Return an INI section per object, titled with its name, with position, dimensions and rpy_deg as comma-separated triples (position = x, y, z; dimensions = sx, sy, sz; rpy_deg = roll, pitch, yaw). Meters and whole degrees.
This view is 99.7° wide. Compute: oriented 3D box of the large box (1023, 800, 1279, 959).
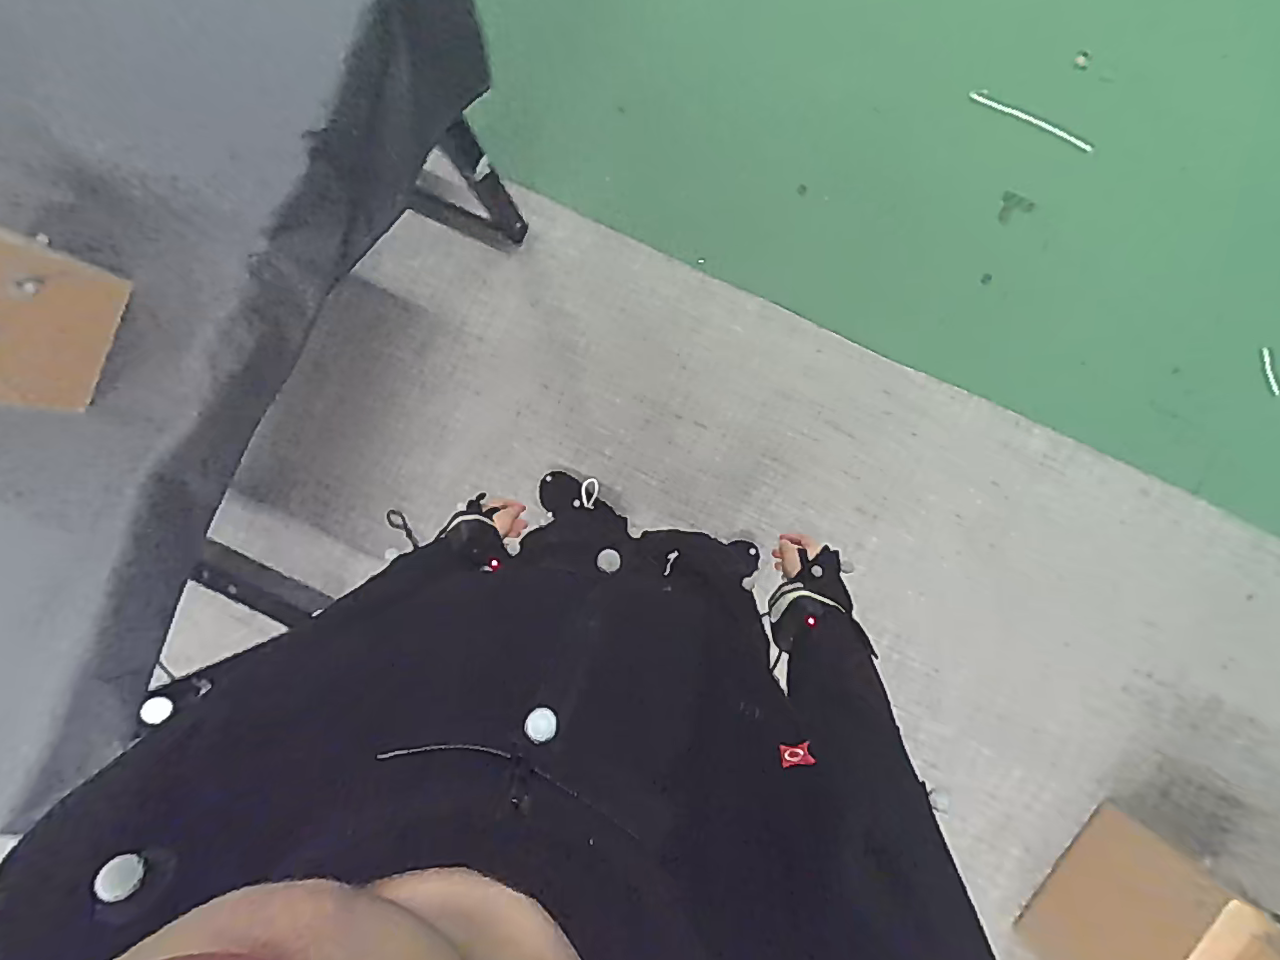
[large box]
position = 1.160, 1.020, 1.172
dimensions = 0.320, 0.320, 0.408
rpy_deg = 32, 93, 3
